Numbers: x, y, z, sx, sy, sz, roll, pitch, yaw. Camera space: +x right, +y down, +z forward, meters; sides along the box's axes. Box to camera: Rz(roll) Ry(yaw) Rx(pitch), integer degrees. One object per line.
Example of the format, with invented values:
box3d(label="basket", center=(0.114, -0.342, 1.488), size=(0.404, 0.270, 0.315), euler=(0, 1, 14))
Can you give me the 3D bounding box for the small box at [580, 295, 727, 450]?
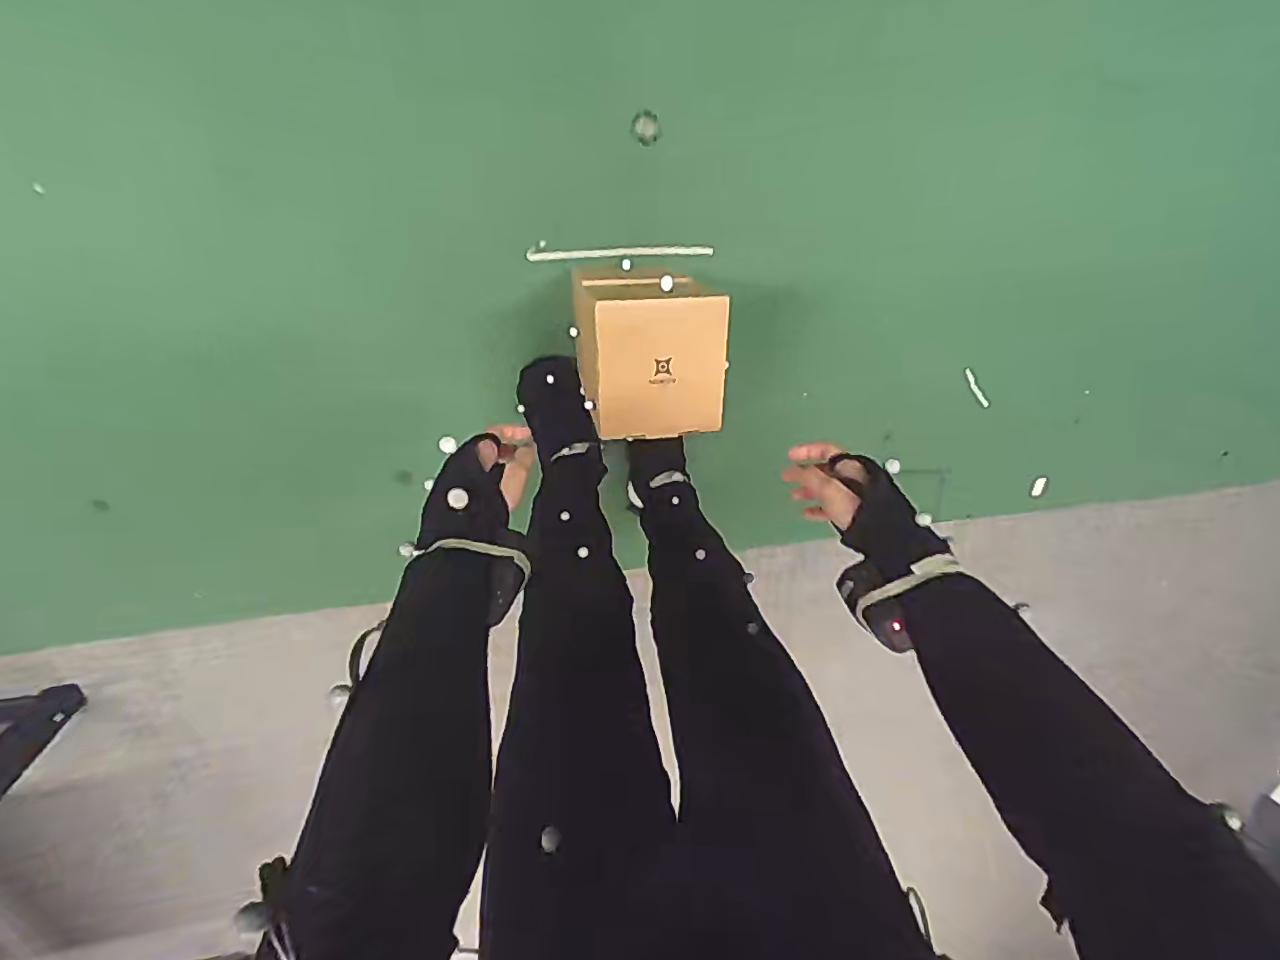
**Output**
box3d(label="small box", center=(0.010, -0.156, 0.742), size=(0.168, 0.176, 0.179), euler=(-5, 116, -9))
